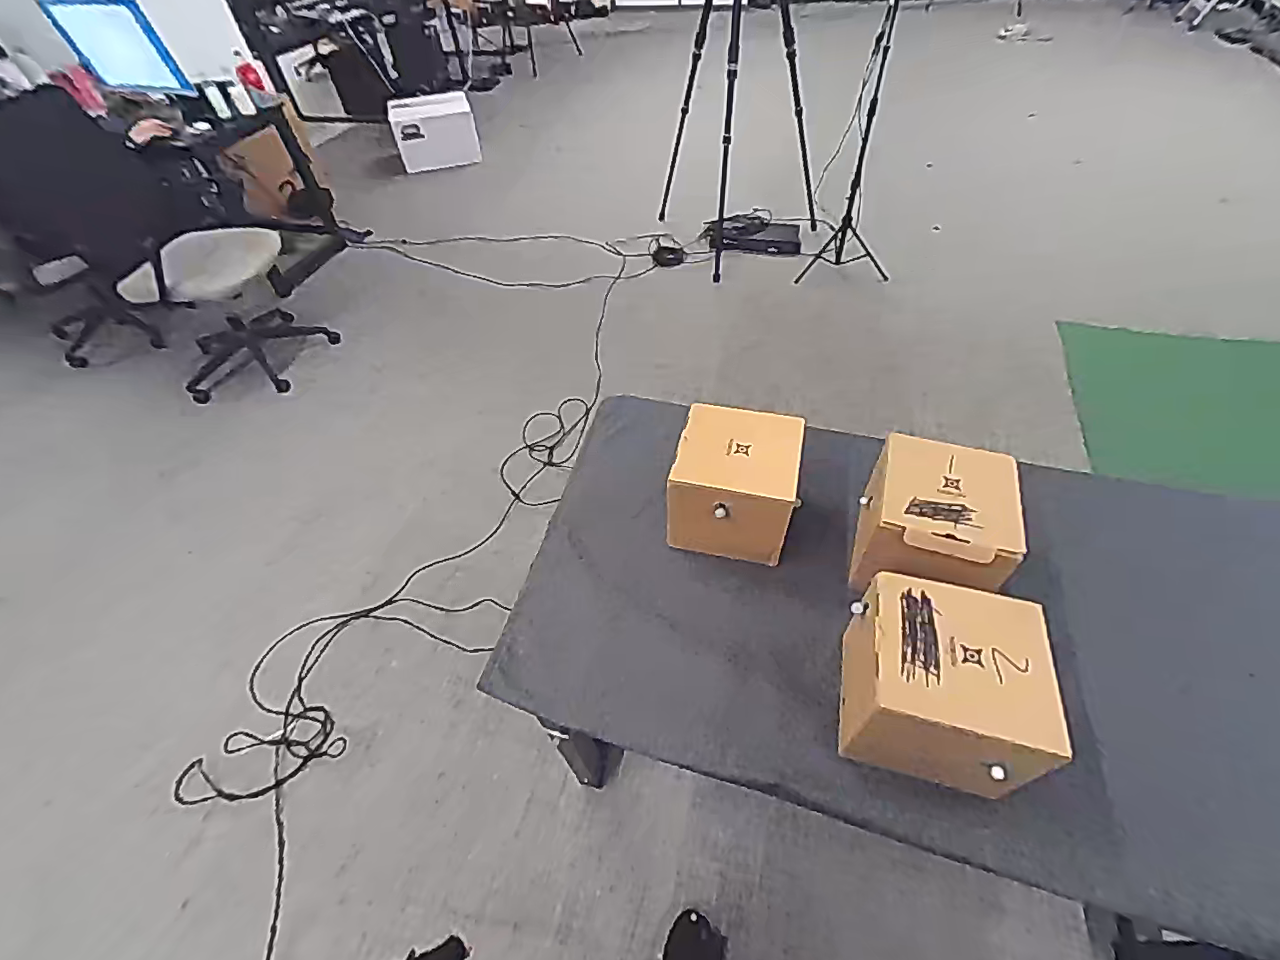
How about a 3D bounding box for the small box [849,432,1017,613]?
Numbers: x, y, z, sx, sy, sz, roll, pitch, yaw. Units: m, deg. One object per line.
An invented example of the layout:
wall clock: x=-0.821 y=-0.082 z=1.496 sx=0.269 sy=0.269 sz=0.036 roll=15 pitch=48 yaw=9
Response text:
small box: x=0.407 y=0.062 z=0.772 sx=0.168 sy=0.176 sz=0.179 roll=14 pitch=52 yaw=15
